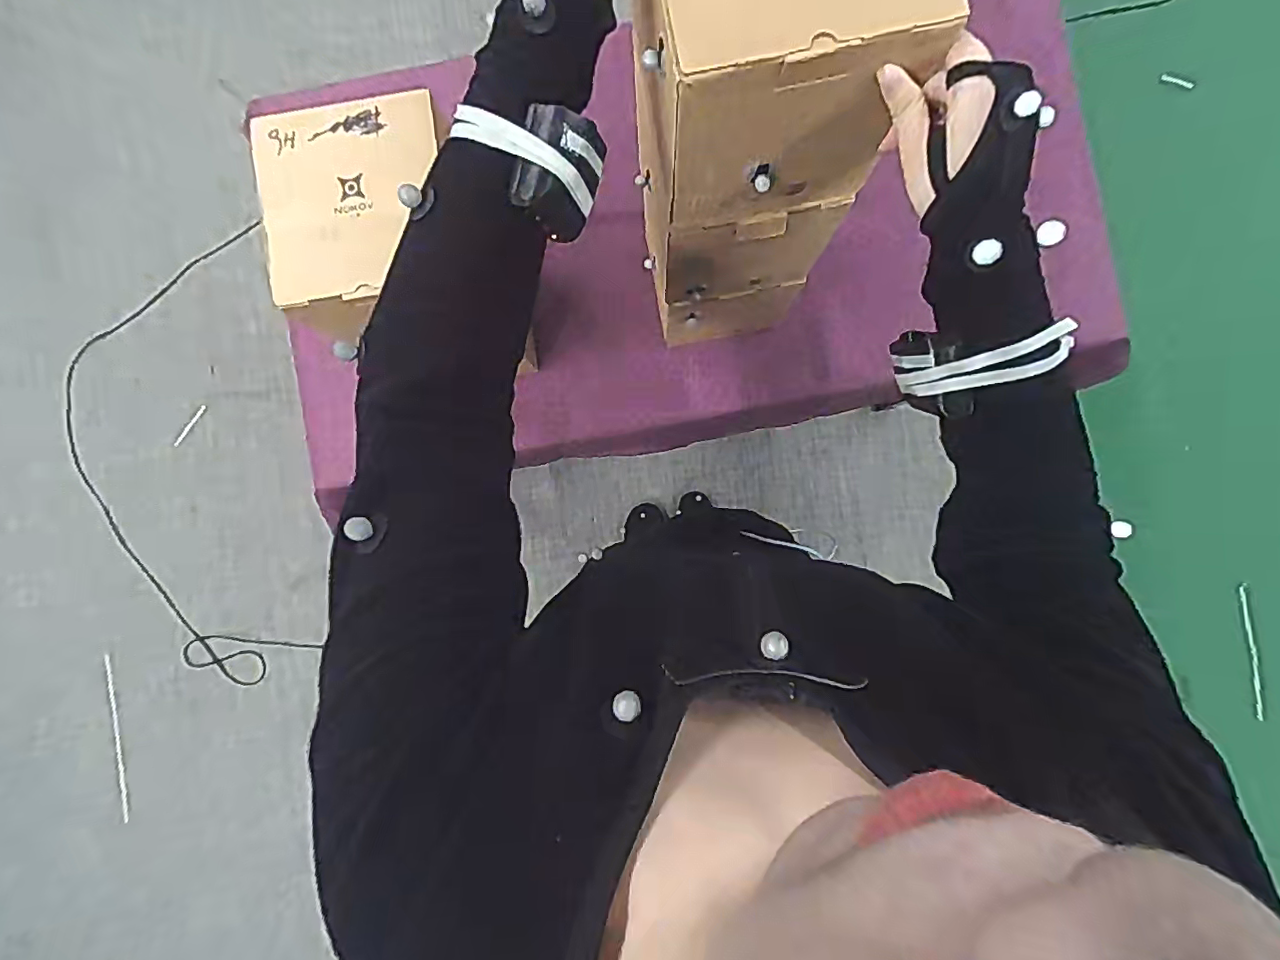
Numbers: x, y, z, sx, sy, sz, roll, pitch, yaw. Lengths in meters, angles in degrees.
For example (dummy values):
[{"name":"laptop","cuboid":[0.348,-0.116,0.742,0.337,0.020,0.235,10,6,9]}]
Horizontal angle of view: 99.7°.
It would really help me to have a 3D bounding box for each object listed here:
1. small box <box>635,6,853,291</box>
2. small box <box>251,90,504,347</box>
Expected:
[{"name":"small box","cuboid":[0.093,-0.308,0.547,0.168,0.176,0.179,-10,87,1]},{"name":"small box","cuboid":[-0.249,-0.244,0.554,0.168,0.176,0.179,-9,88,1]}]
